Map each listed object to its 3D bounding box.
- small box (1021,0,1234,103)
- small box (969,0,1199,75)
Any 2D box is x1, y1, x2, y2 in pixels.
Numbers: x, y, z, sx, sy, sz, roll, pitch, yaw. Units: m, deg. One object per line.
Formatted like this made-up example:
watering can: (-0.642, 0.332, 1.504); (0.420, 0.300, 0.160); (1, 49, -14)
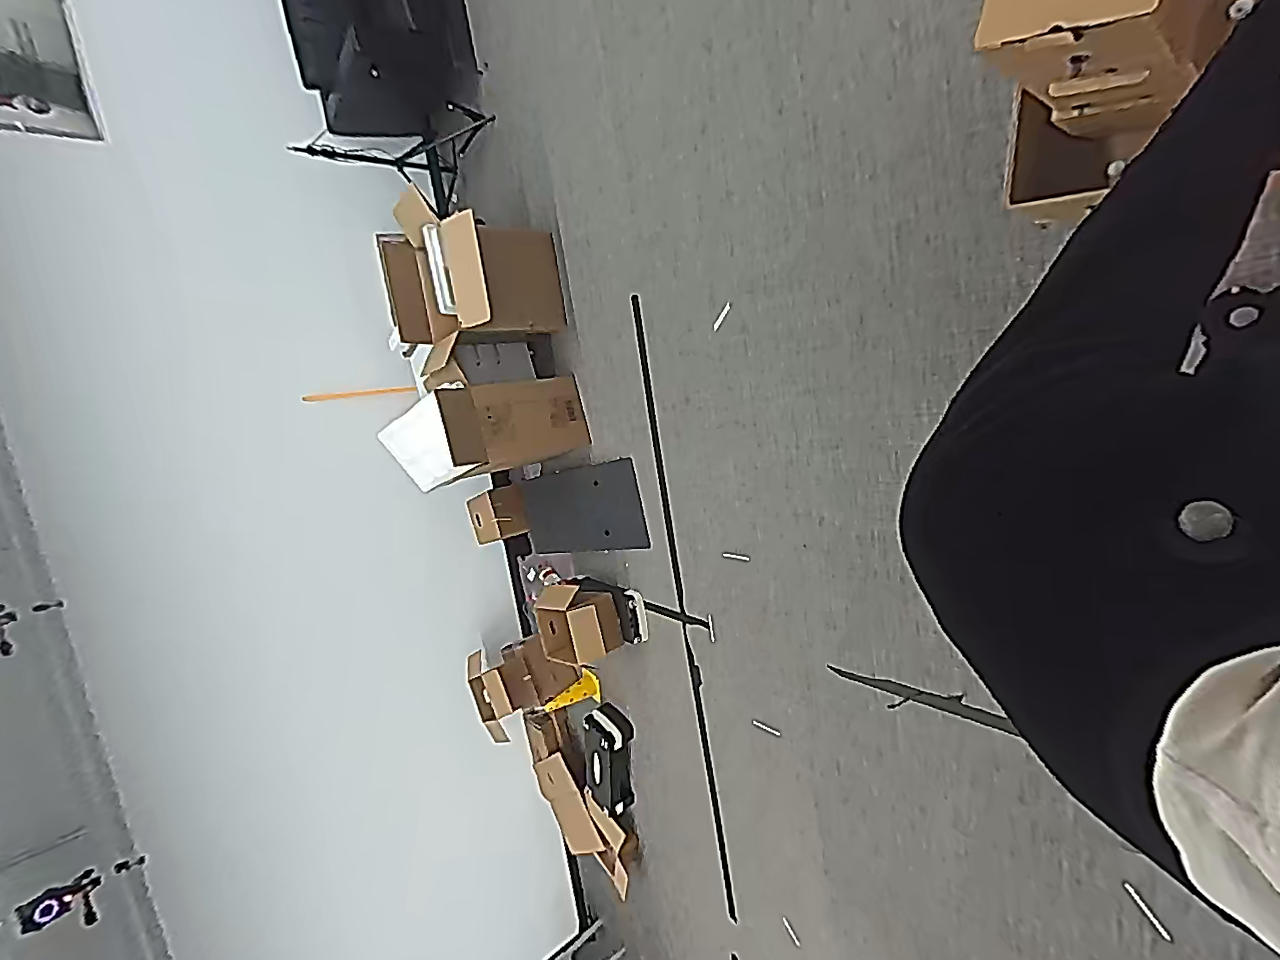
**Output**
small box: (0.623, -0.599, 0.679); (0.168, 0.176, 0.179); (25, 119, 46)
small box: (0.497, -0.562, 0.580); (0.168, 0.176, 0.179); (30, 124, 43)
